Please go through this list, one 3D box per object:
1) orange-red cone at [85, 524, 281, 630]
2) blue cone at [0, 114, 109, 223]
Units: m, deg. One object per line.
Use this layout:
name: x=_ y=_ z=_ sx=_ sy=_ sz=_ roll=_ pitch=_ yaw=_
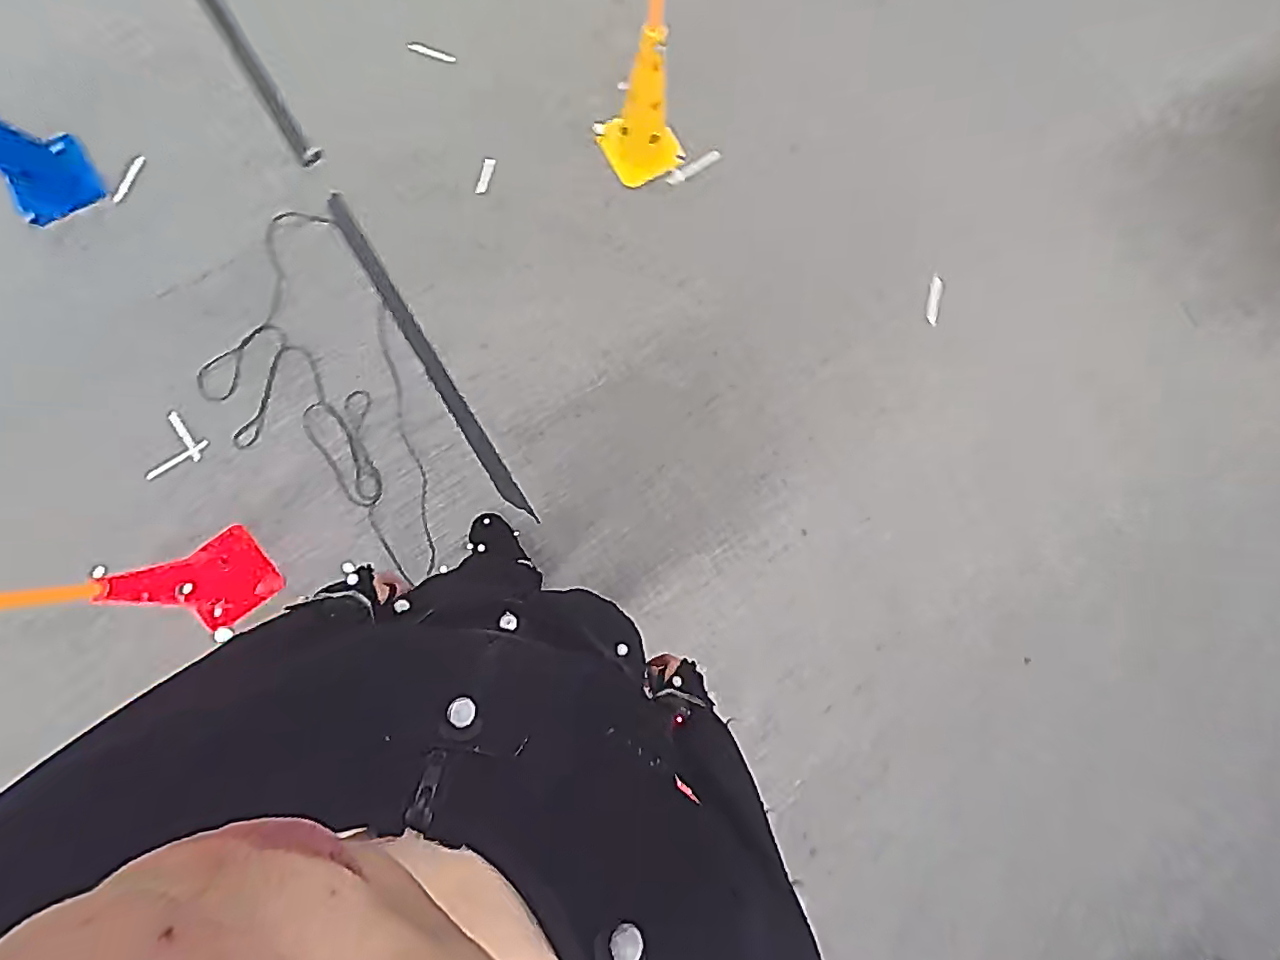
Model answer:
orange-red cone: x=-0.970 y=0.207 z=1.119 sx=0.199 sy=0.360 sz=0.198 roll=-37 pitch=88 yaw=-9
blue cone: x=-1.461 y=-0.785 z=1.212 sx=0.193 sy=0.380 sz=0.192 roll=-29 pitch=87 yaw=-7
